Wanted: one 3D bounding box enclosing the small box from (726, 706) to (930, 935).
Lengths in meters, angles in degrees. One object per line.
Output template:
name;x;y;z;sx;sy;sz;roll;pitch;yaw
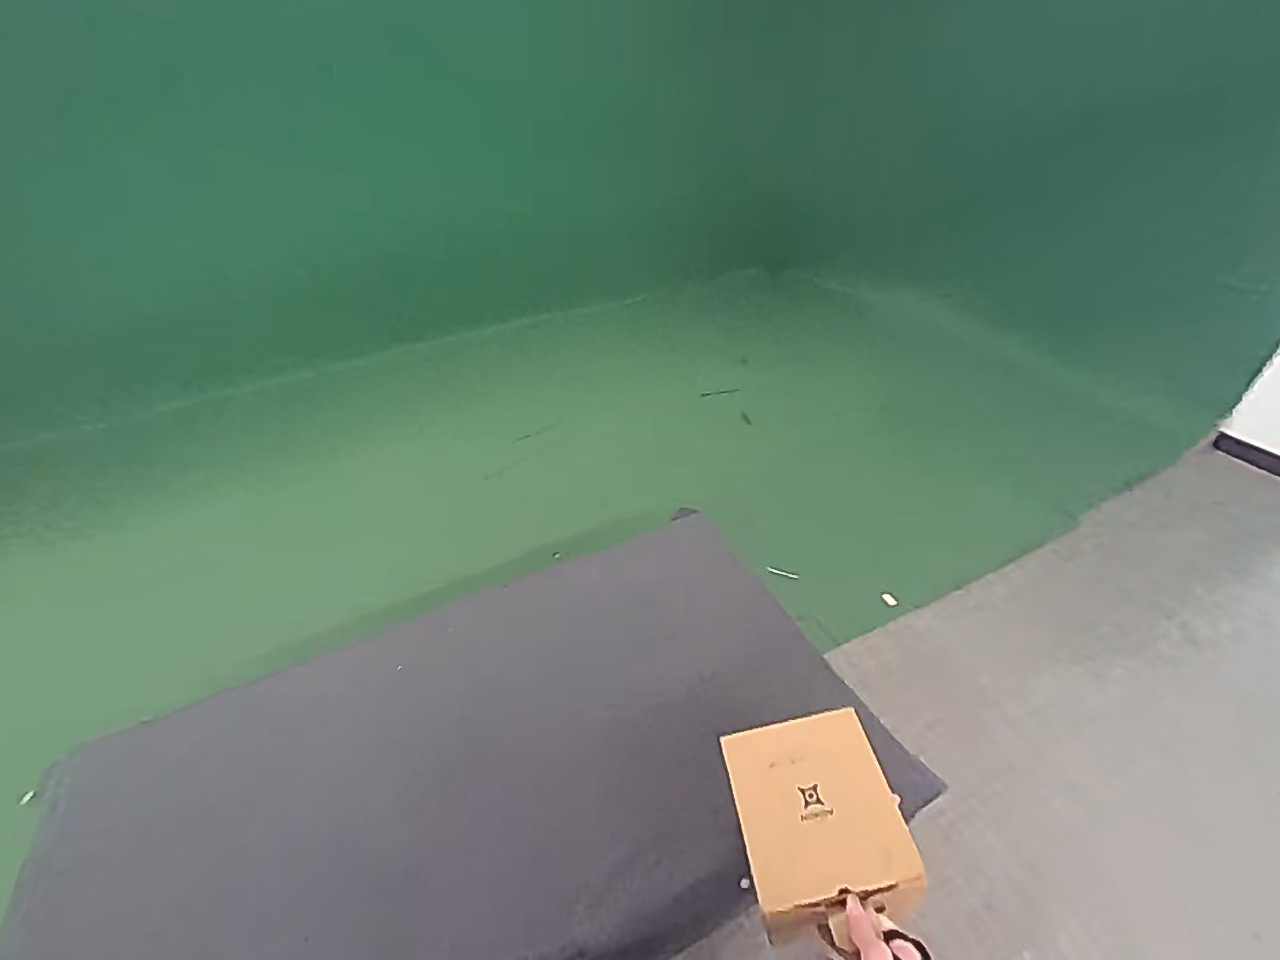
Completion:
small box;0.207;0.401;0.633;0.168;0.176;0.179;-12;39;1
